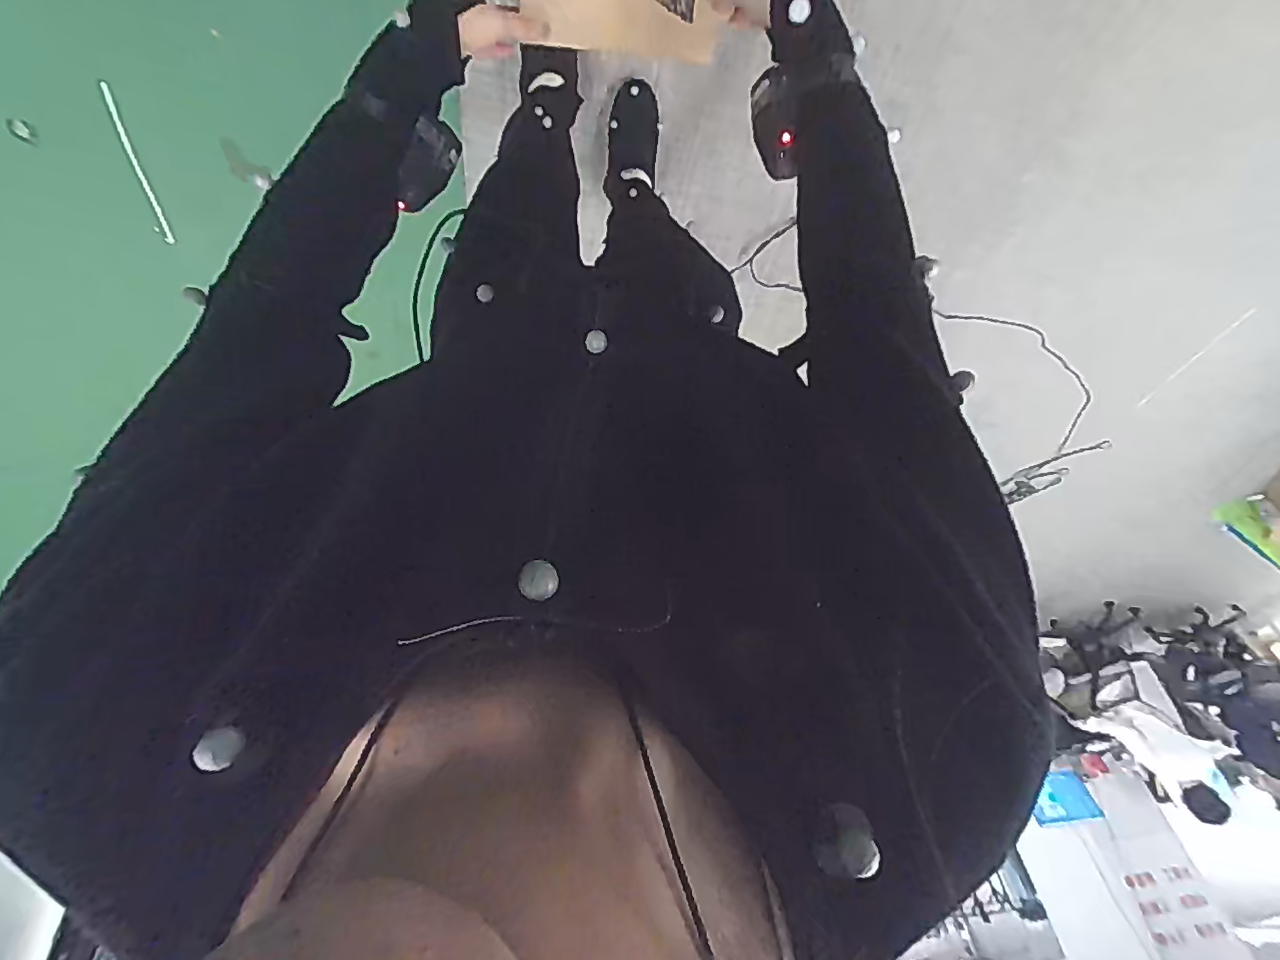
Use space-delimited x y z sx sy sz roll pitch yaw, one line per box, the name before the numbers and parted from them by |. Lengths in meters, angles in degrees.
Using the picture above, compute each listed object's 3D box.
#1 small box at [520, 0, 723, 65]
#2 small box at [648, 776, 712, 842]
small box | -0.020 -0.498 0.489 0.179 0.176 0.168 0 133 -9
small box | 0.133 1.157 1.909 0.168 0.176 0.179 5 137 -16
